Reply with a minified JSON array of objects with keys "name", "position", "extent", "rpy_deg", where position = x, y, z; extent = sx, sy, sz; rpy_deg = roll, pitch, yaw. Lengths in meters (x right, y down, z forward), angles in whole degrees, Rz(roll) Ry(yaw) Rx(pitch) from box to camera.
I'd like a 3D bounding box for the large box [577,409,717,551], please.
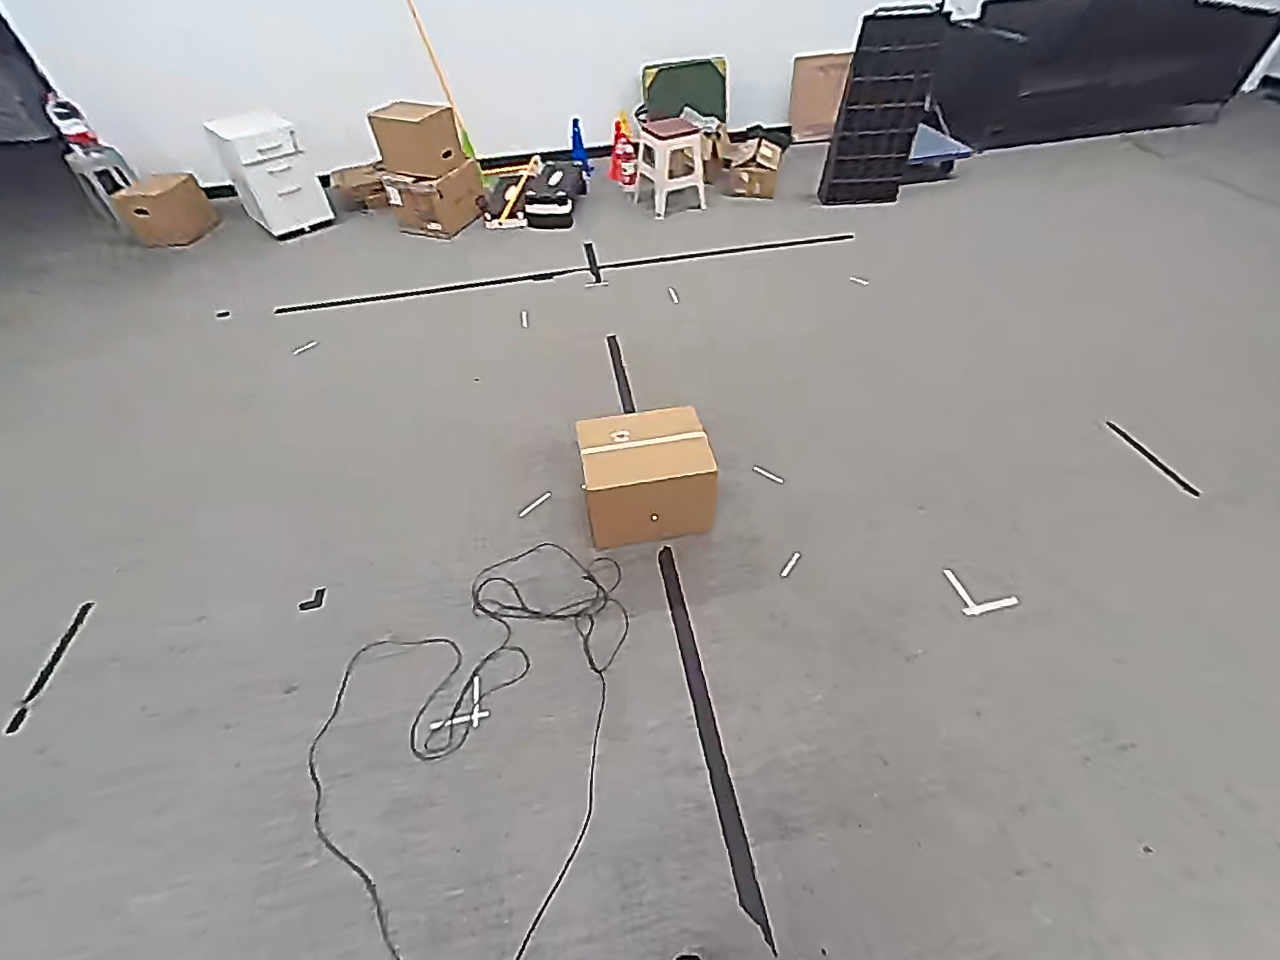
[{"name":"large box","position":[0.019,0.001,1.821],"extent":[0.408,0.320,0.320],"rpy_deg":[-10,48,-5]}]
